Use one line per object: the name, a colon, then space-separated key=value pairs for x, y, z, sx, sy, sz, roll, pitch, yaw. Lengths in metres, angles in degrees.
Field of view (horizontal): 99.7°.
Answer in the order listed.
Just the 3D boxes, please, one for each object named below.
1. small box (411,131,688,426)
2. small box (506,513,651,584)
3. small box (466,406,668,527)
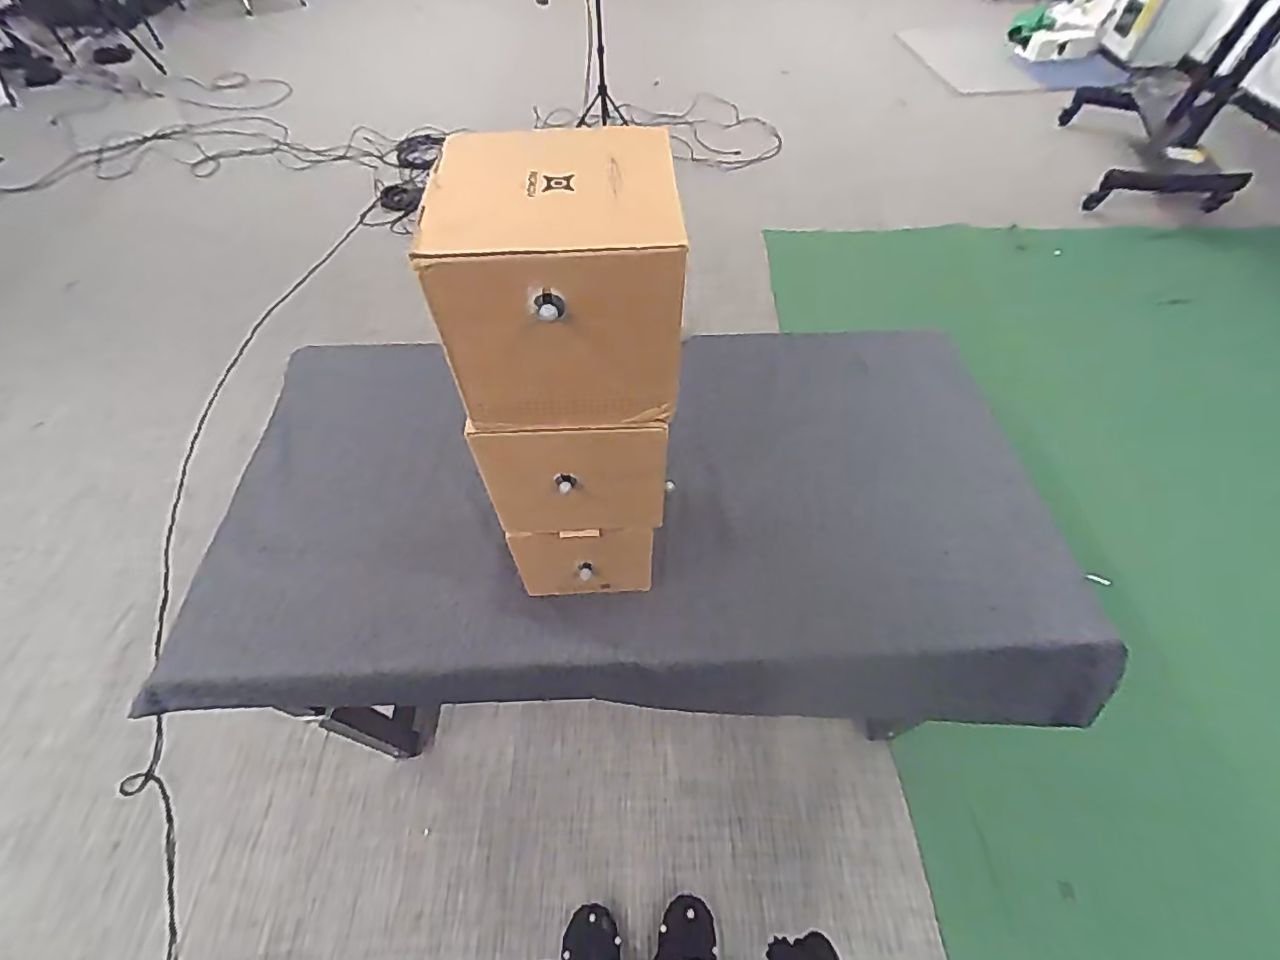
small box: x=-0.060 y=-0.157 z=0.444 sx=0.179 sy=0.176 sz=0.168 roll=-2 pitch=57 yaw=-3
small box: x=-0.071 y=0.030 z=0.712 sx=0.168 sy=0.176 sz=0.179 roll=-3 pitch=56 yaw=-2
small box: x=-0.065 y=-0.060 z=0.574 sx=0.179 sy=0.176 sz=0.168 roll=-2 pitch=55 yaw=0
